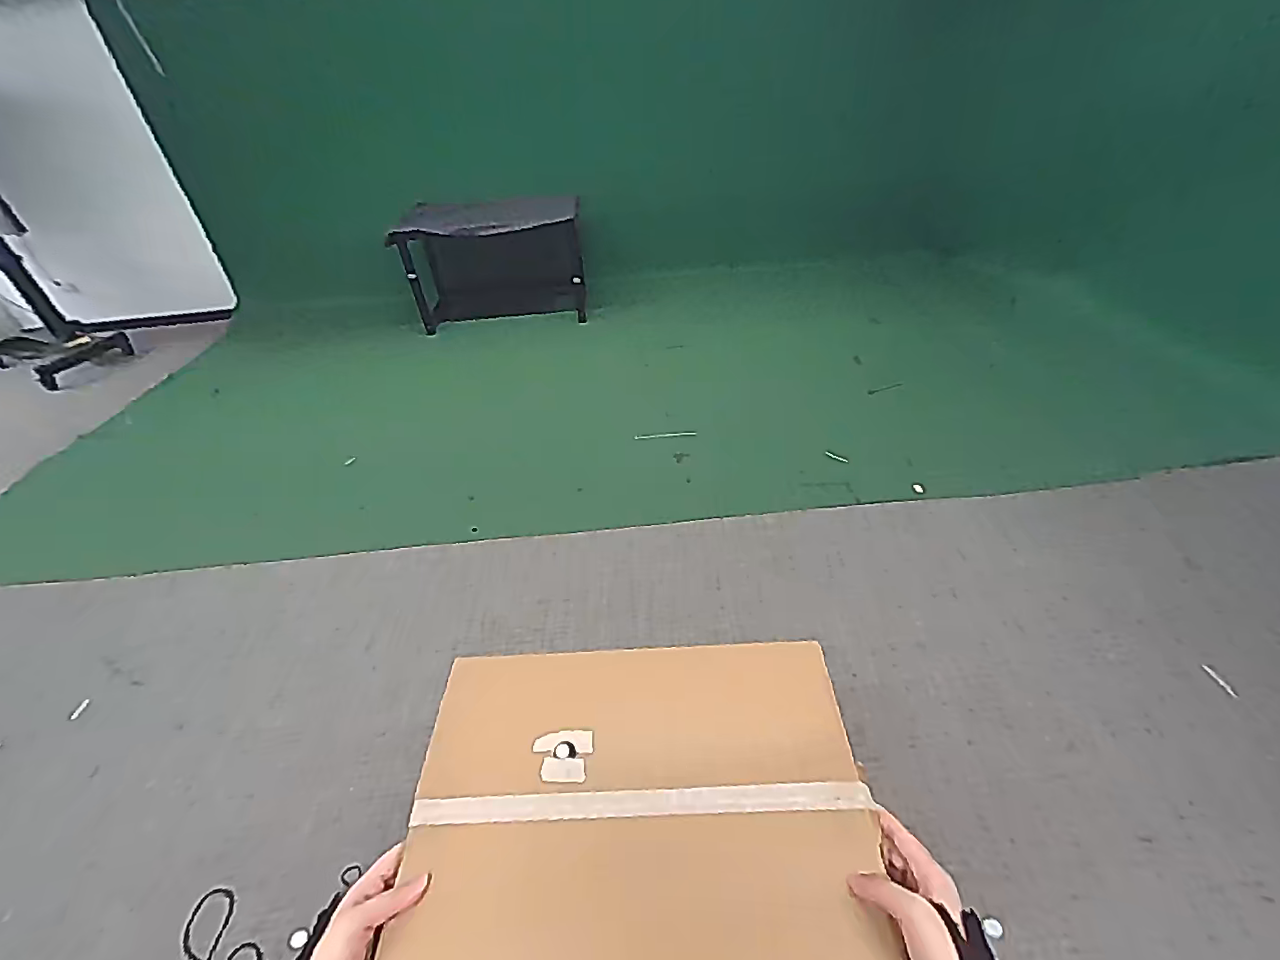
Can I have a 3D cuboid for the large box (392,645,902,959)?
[{"bbox_3d":[0.014,0.412,0.592,0.408,0.320,0.320,-5,41,4],"label":"large box"}]
